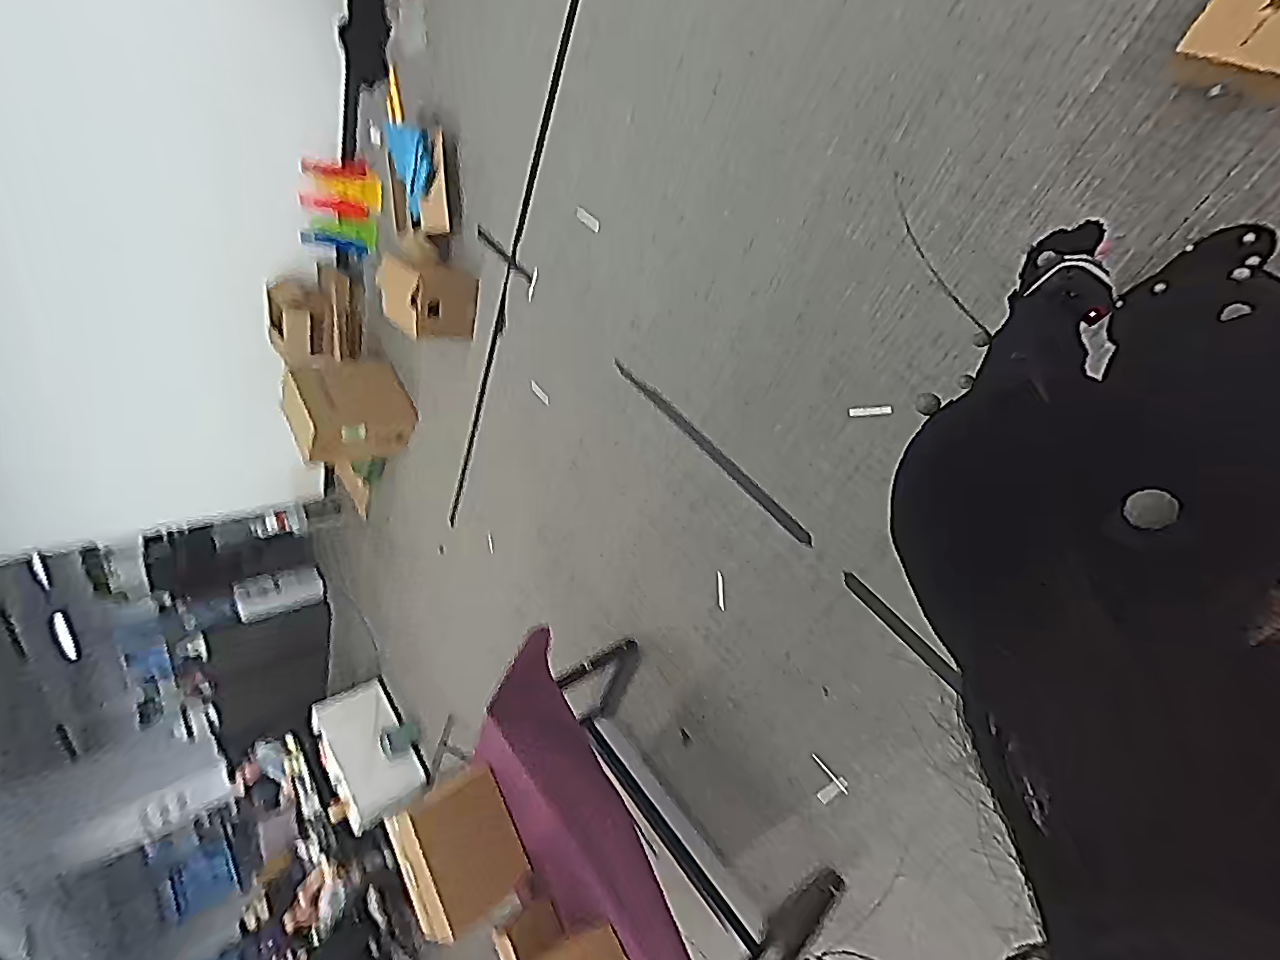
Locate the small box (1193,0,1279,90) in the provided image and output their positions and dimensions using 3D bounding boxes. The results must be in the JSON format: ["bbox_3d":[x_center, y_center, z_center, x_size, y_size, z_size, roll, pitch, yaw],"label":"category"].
[{"bbox_3d":[1.033,-0.757,0.850,0.168,0.176,0.179,45,130,28],"label":"small box"}]
